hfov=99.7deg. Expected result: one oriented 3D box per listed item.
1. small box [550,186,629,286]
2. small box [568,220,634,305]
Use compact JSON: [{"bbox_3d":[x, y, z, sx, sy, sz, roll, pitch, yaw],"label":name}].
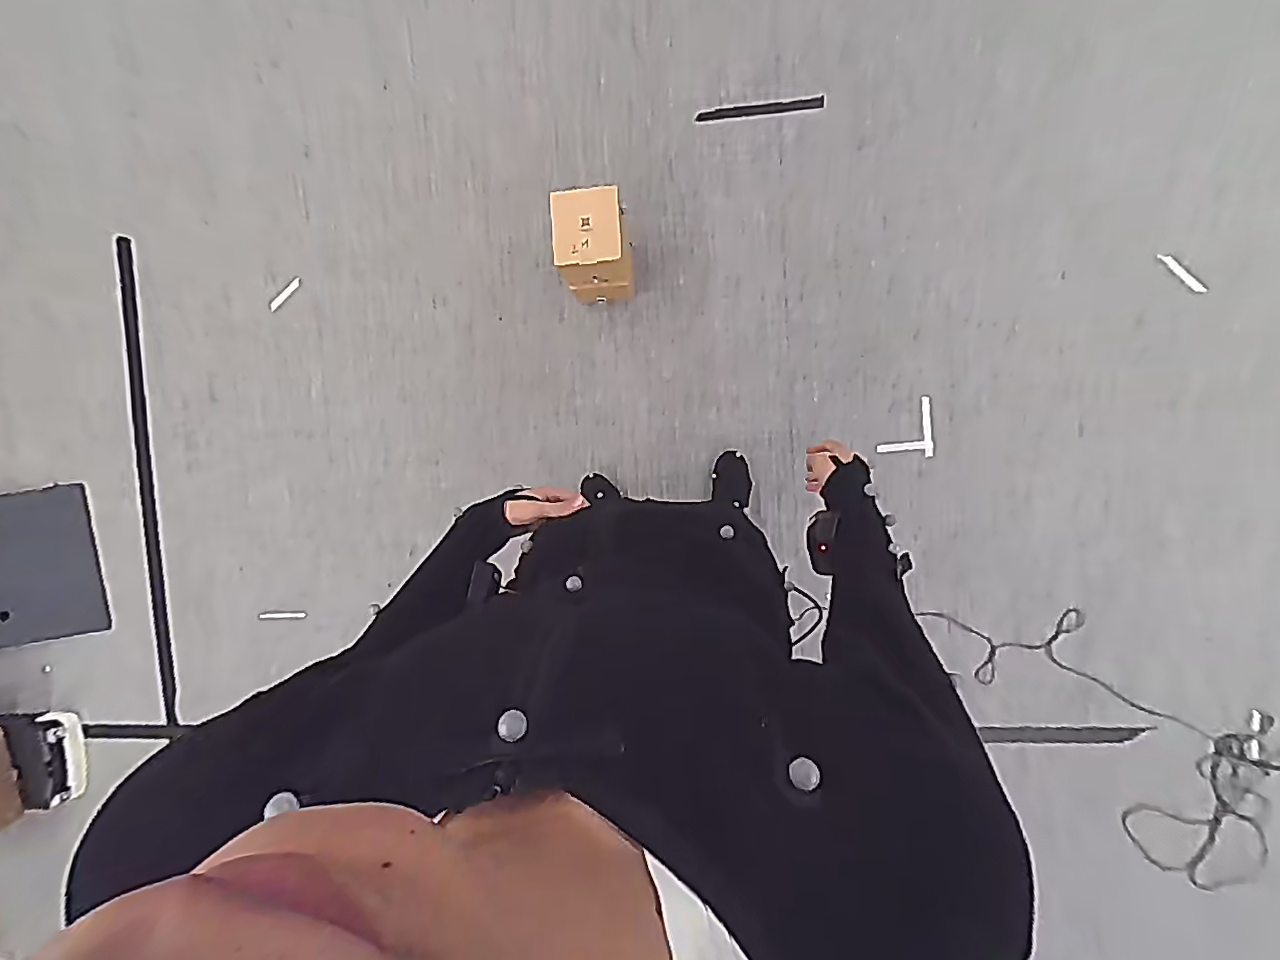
[{"bbox_3d":[-0.121,-0.602,1.350,0.168,0.176,0.179,-3,94,6],"label":"small box"},{"bbox_3d":[-0.108,-0.604,1.514,0.168,0.176,0.179,-3,93,6],"label":"small box"}]
